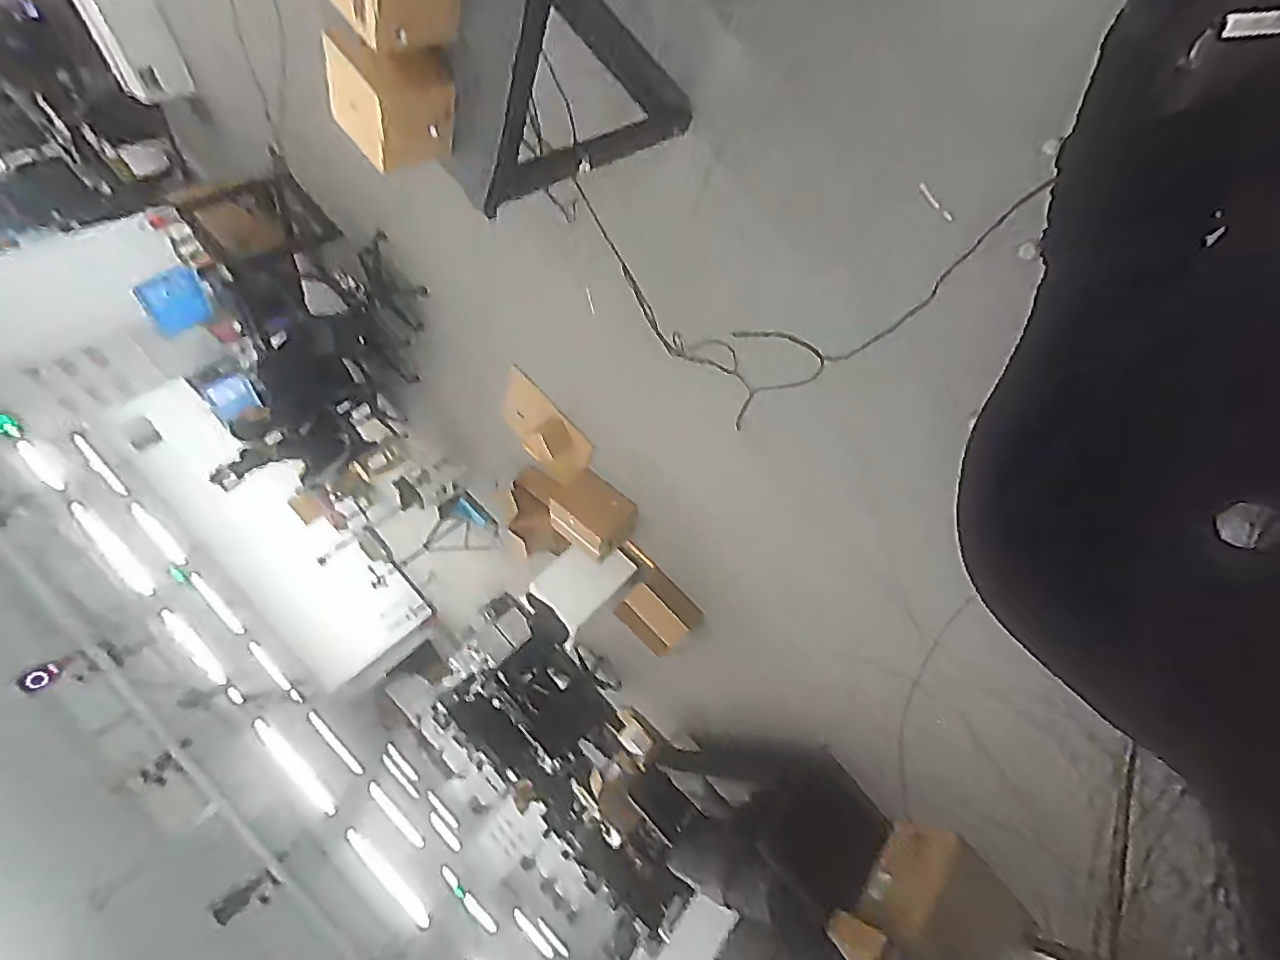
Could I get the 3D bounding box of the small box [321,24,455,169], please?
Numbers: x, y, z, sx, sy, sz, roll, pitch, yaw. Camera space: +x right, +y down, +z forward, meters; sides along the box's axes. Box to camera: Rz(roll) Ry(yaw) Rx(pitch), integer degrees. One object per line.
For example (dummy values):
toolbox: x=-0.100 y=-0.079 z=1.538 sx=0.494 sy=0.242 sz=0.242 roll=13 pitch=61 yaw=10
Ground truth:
small box: x=-0.500 y=-0.769 z=1.084 sx=0.179 sy=0.176 sz=0.168 roll=49 pitch=148 yaw=3
